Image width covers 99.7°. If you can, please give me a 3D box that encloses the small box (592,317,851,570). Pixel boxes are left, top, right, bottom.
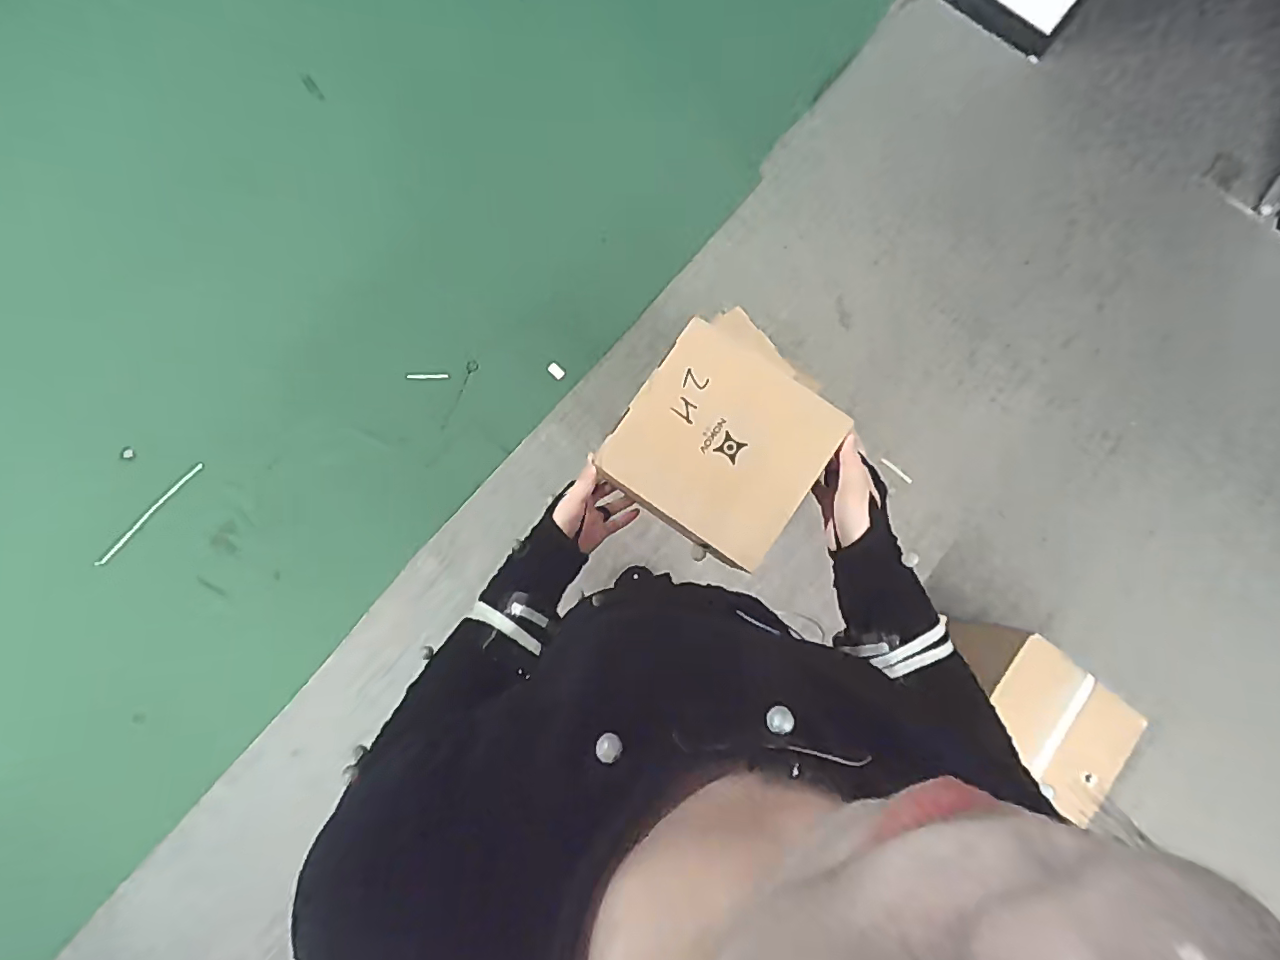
[{"bbox_3d":[0.074,-0.029,0.558,0.179,0.176,0.168,35,86,4],"label":"small box"}]

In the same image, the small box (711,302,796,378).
[{"bbox_3d":[0.157,-0.193,1.023,0.179,0.176,0.168,-37,83,-5],"label":"small box"}]
